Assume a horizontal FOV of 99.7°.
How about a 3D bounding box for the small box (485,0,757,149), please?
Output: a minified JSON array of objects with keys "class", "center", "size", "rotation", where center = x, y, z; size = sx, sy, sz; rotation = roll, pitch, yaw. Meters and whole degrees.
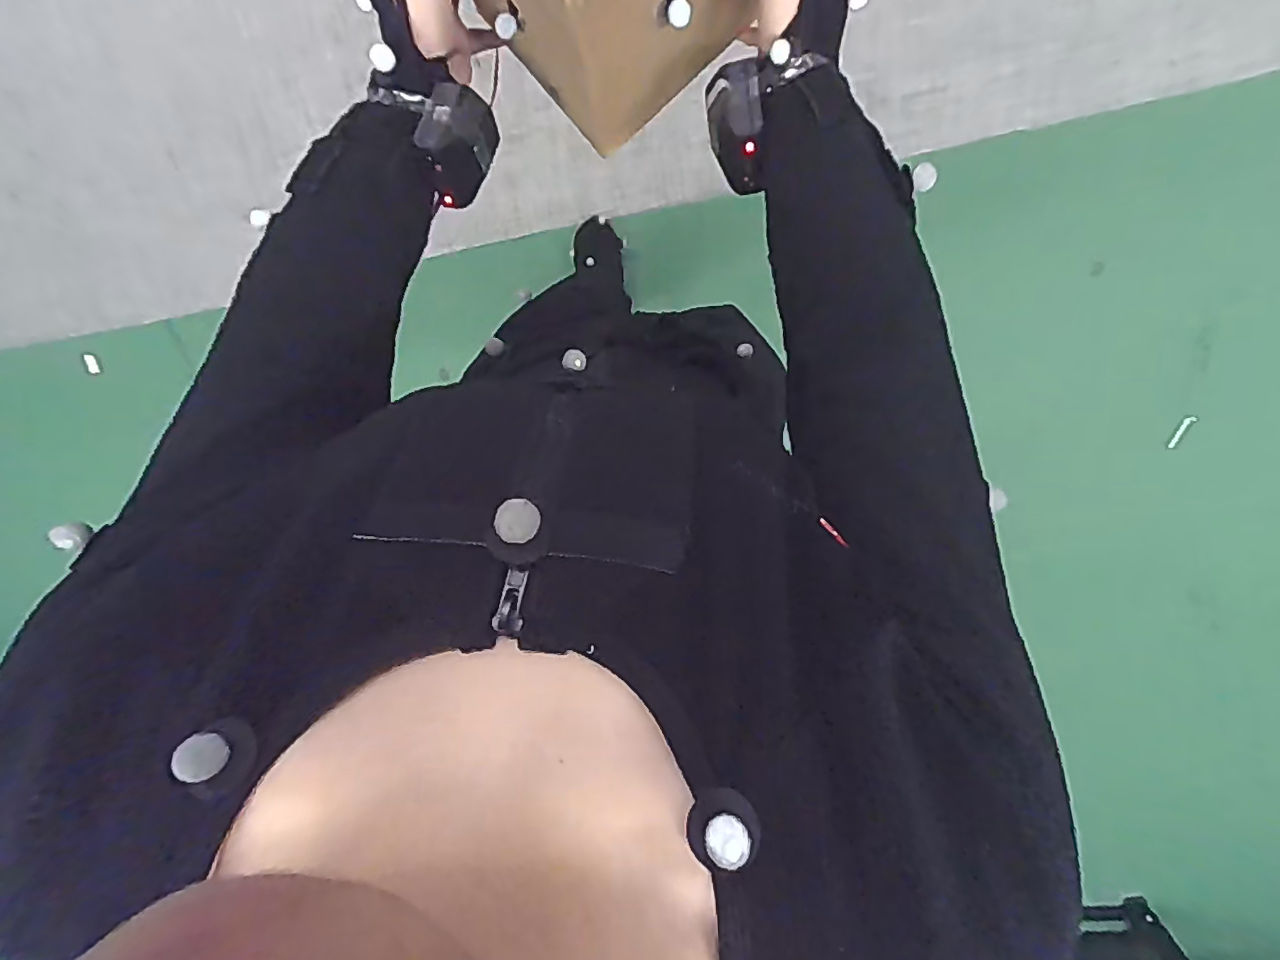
[{"class":"small box","center":[-0.019,-0.379,0.369],"size":[0.179,0.176,0.168],"rotation":[-42,91,6]}]
